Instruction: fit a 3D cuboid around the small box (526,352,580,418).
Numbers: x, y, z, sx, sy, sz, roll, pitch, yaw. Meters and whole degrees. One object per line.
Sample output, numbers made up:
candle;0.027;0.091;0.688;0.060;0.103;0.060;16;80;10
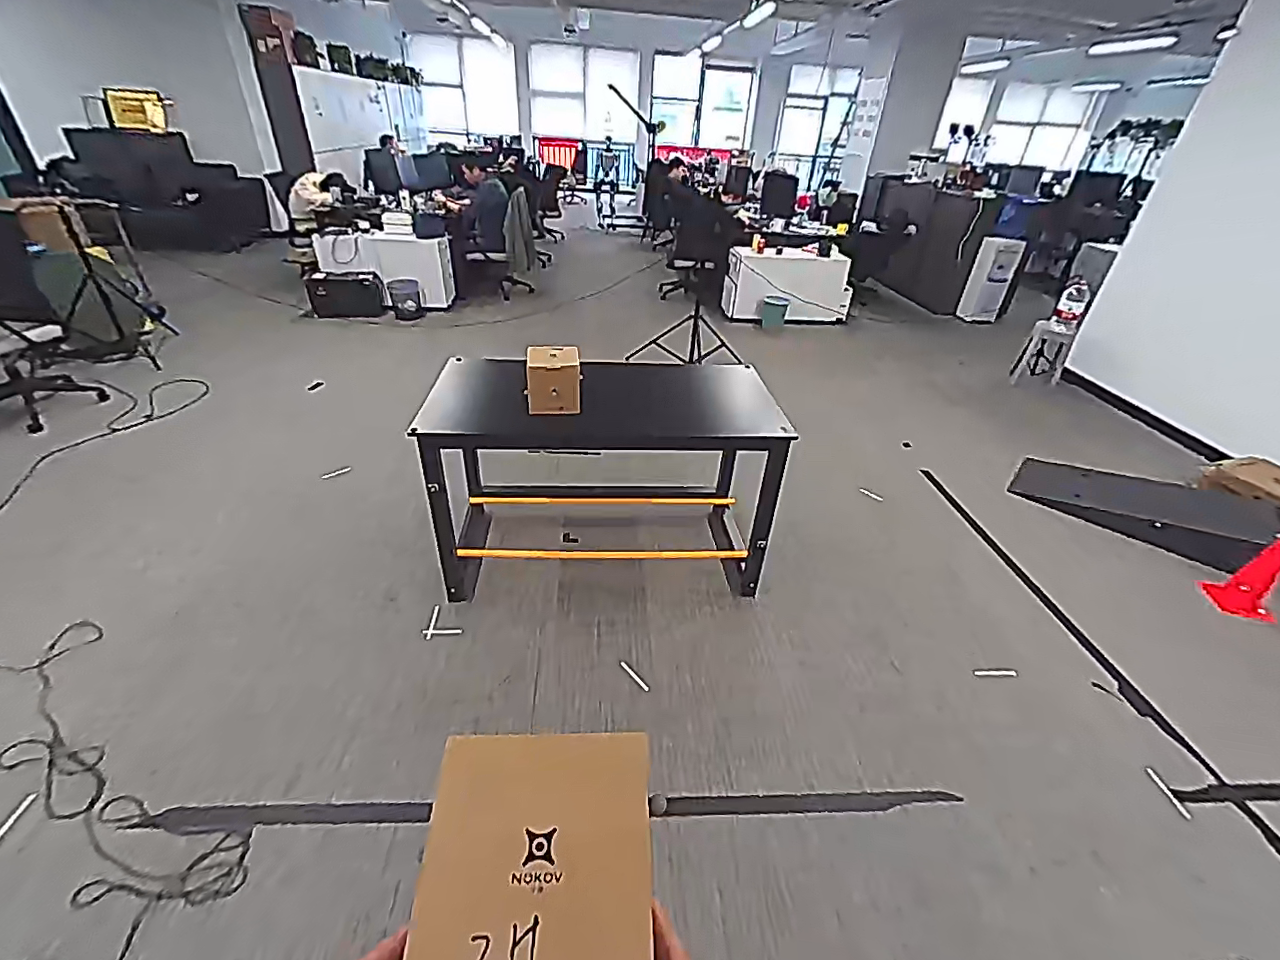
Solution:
small box;-0.287;-0.315;1.803;0.168;0.176;0.179;-3;34;-9

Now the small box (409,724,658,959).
small box;-0.075;0.326;0.457;0.168;0.176;0.179;-1;47;-3
